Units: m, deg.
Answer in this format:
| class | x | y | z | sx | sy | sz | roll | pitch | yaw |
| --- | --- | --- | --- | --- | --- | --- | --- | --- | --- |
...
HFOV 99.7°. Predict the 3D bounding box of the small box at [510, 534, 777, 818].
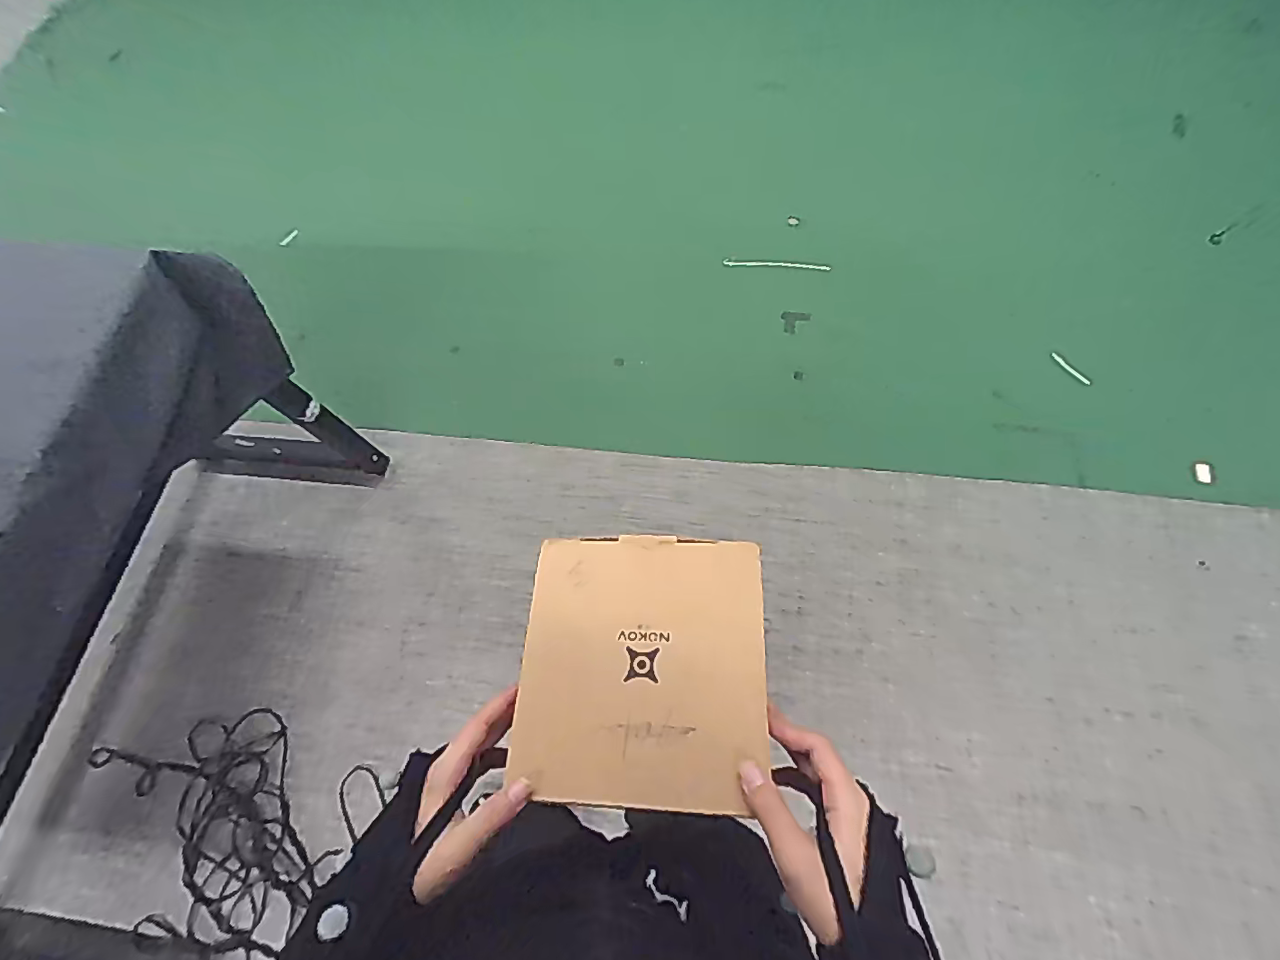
| class | x | y | z | sx | sy | sz | roll | pitch | yaw |
| --- | --- | --- | --- | --- | --- | --- | --- | --- | --- |
| small box | 0.012 | 0.158 | 0.434 | 0.168 | 0.176 | 0.179 | 1 | 62 | 6 |
